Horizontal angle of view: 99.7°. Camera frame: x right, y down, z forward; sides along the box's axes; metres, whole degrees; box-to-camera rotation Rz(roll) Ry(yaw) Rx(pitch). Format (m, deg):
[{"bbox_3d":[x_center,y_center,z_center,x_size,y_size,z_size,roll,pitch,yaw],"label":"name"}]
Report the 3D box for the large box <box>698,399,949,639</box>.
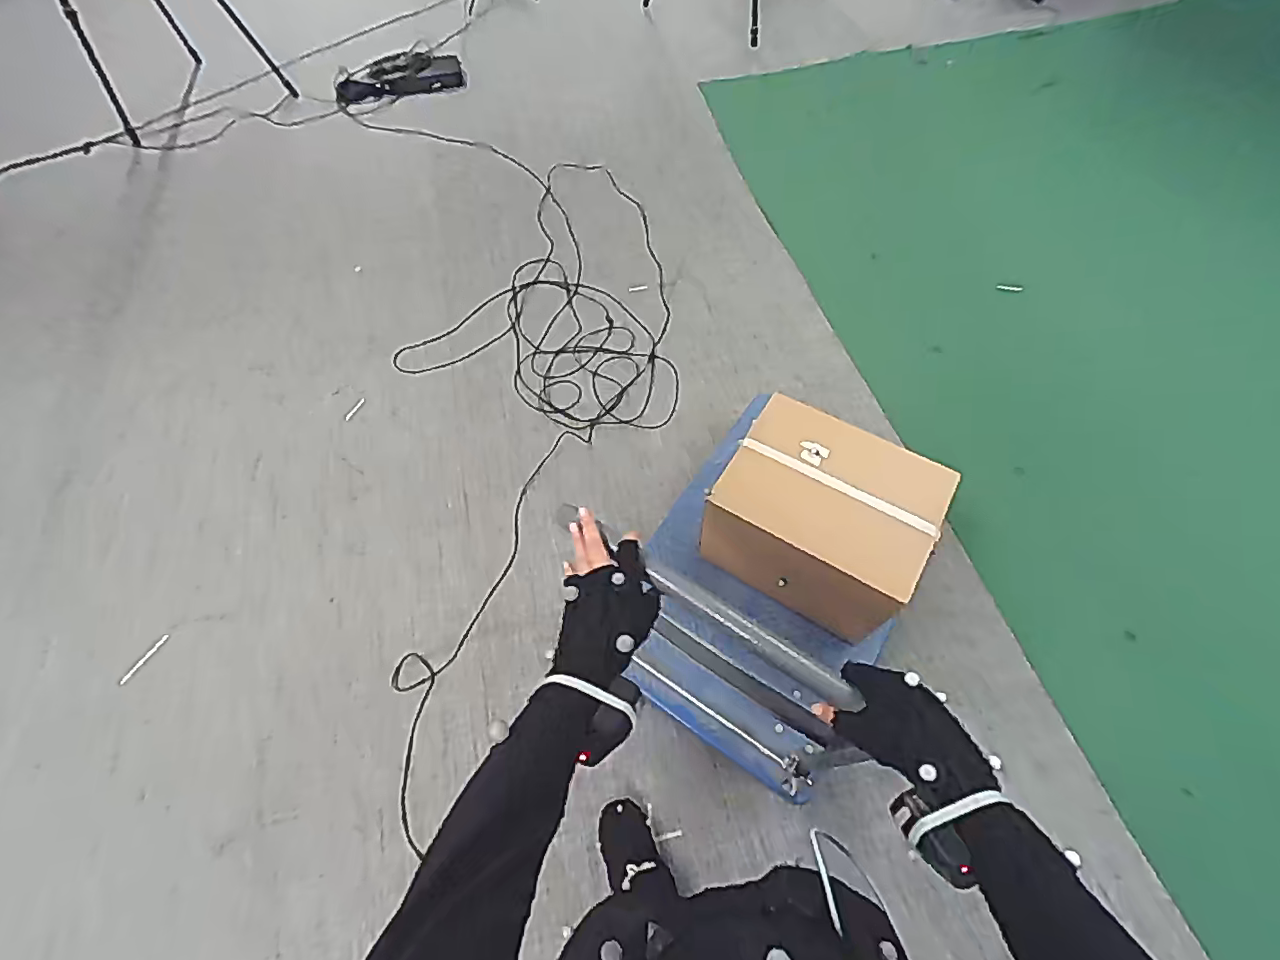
[{"bbox_3d":[0.380,0.092,1.201,0.408,0.320,0.320,28,65,18],"label":"large box"}]
